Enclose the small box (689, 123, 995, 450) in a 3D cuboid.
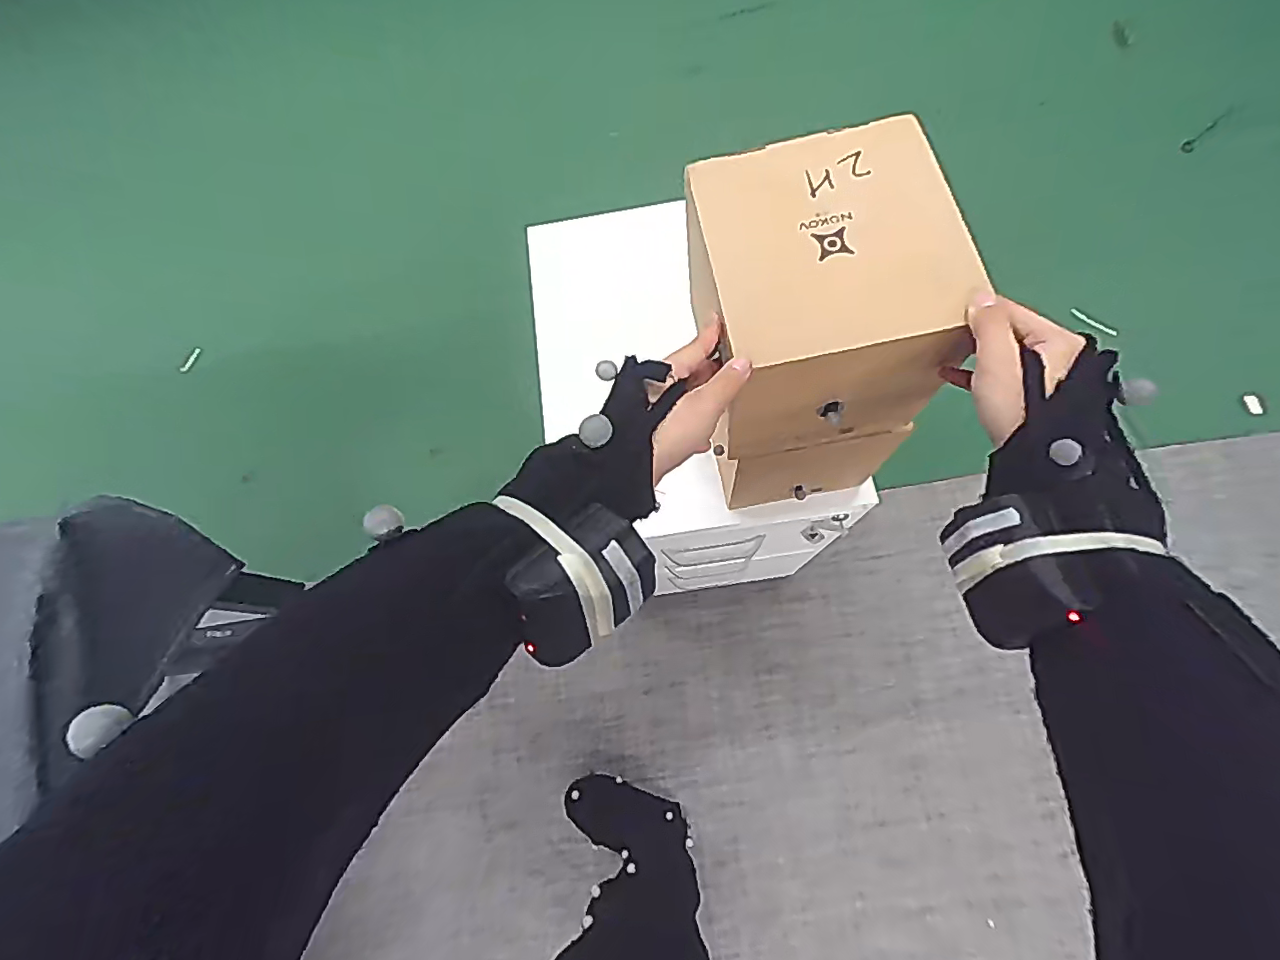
[{"bbox_3d":[0.137,-0.135,0.439,0.168,0.176,0.179,-11,71,3],"label":"small box"}]
